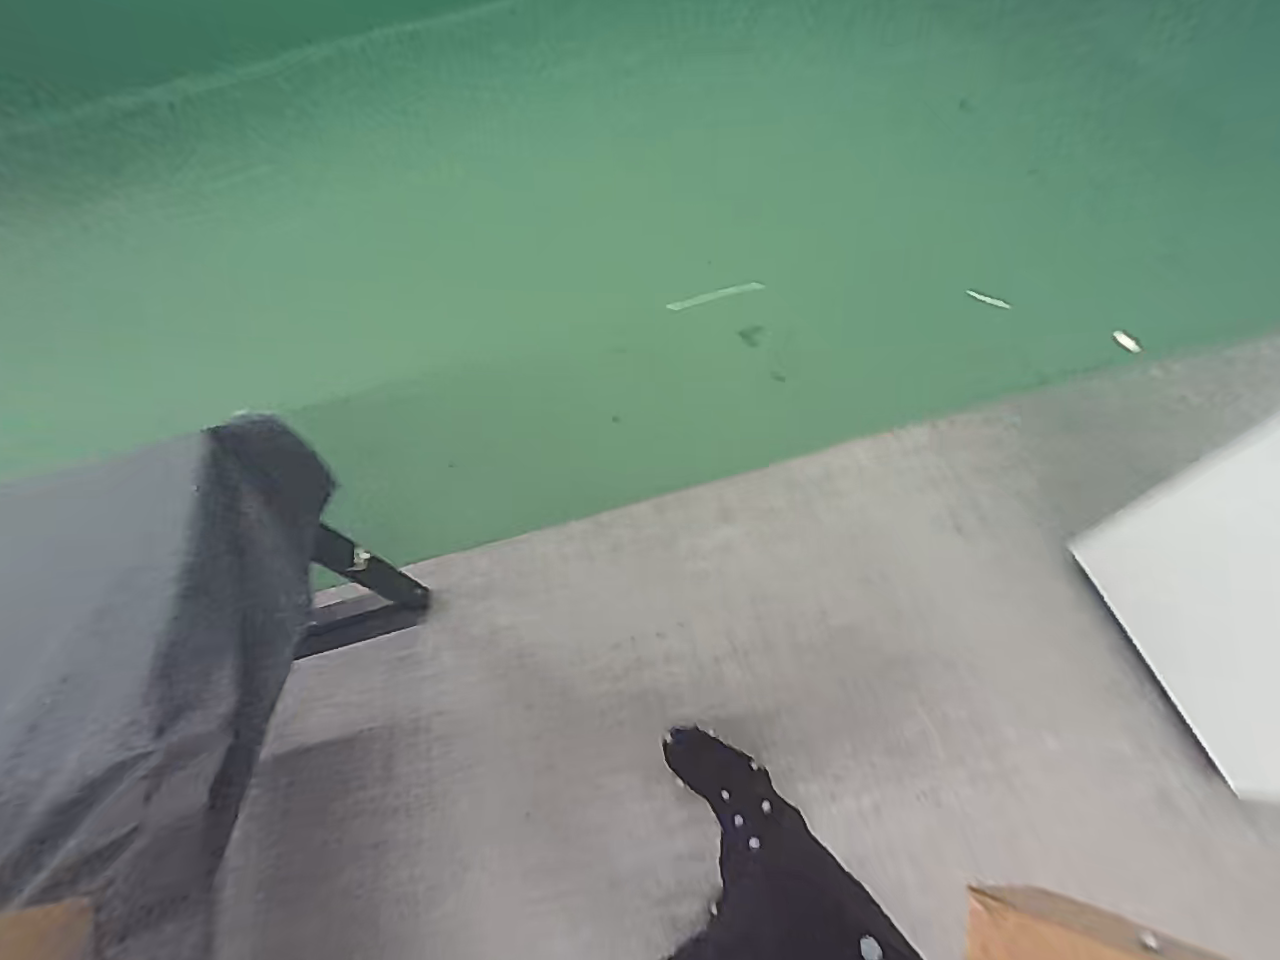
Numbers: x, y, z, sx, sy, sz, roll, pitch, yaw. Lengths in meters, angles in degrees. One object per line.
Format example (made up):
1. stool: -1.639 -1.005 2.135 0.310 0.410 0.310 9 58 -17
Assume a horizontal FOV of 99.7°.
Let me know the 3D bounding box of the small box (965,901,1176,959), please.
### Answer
1. small box: 0.424 0.520 0.498 0.179 0.176 0.168 25 67 -30
